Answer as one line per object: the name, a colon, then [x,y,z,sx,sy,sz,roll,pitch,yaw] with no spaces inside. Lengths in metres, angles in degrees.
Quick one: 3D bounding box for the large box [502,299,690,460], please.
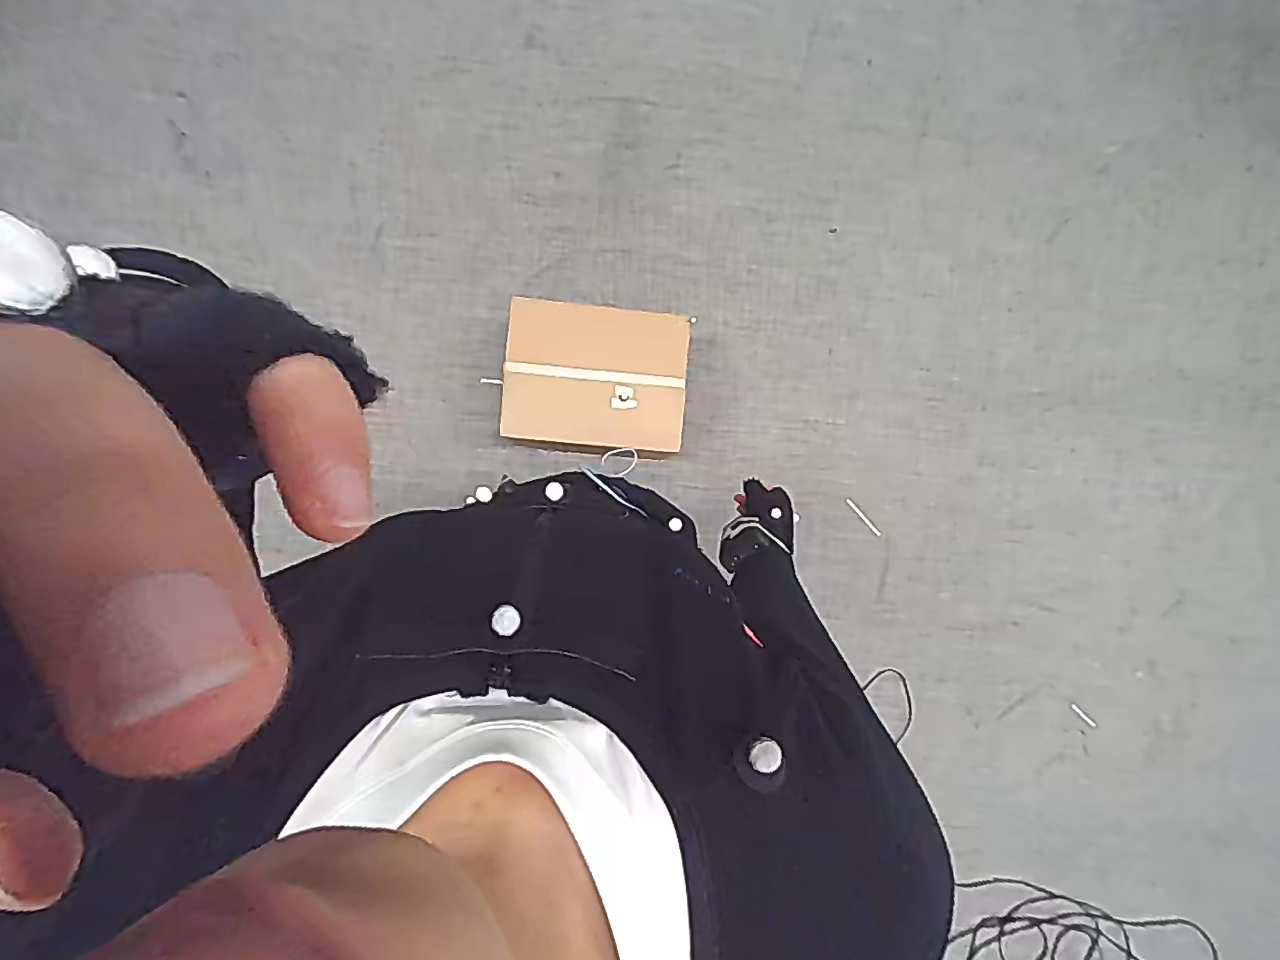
large box: [-0.108,-0.228,1.350,0.408,0.320,0.320,5,89,-4]
